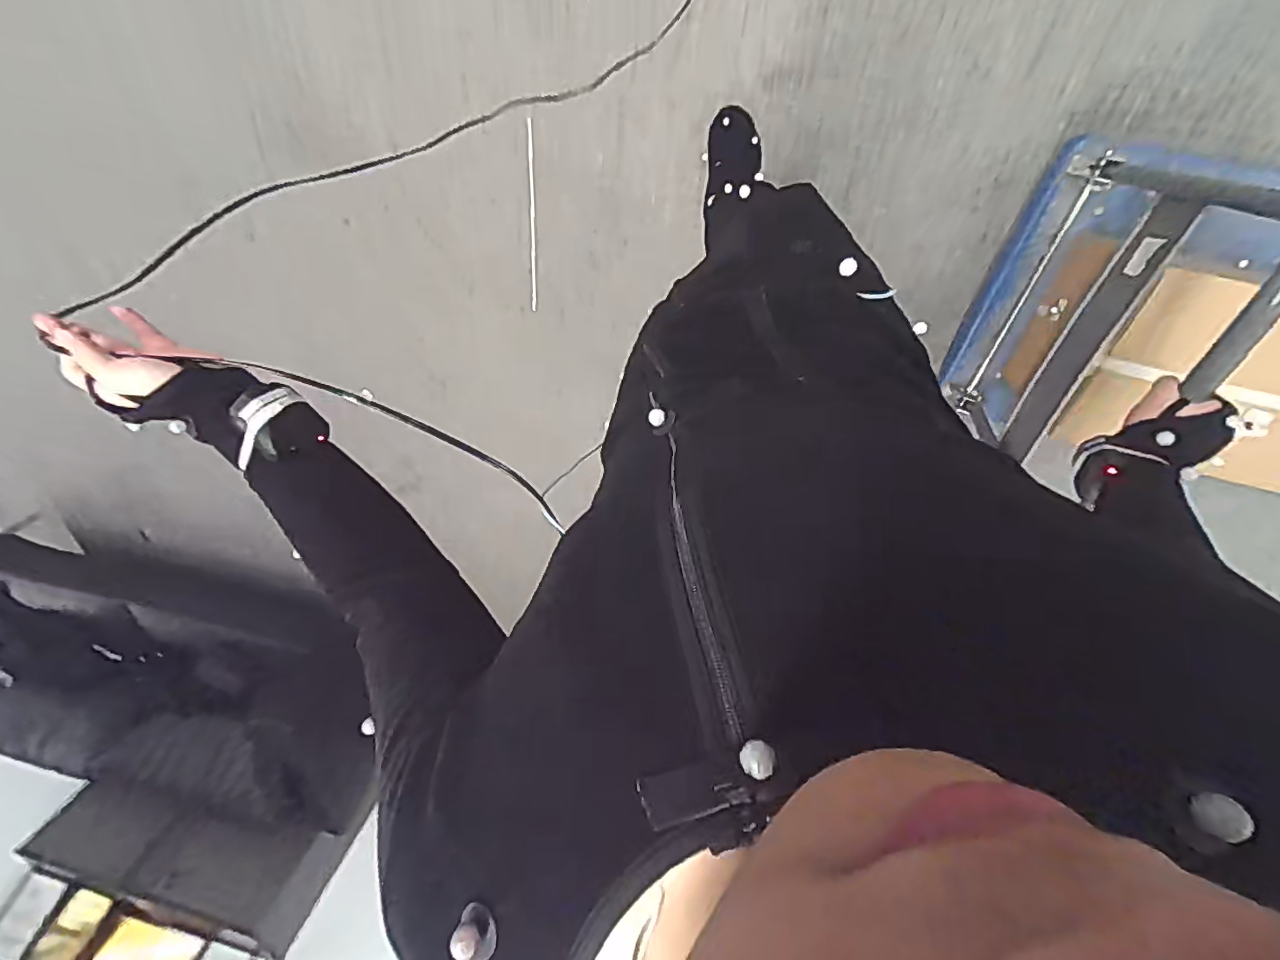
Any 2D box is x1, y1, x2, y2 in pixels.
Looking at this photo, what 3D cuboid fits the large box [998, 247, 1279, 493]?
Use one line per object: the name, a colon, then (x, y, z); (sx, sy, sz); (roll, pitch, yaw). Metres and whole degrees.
large box: (1.001, -0.225, 1.026); (0.408, 0.320, 0.320); (15, 125, 6)
